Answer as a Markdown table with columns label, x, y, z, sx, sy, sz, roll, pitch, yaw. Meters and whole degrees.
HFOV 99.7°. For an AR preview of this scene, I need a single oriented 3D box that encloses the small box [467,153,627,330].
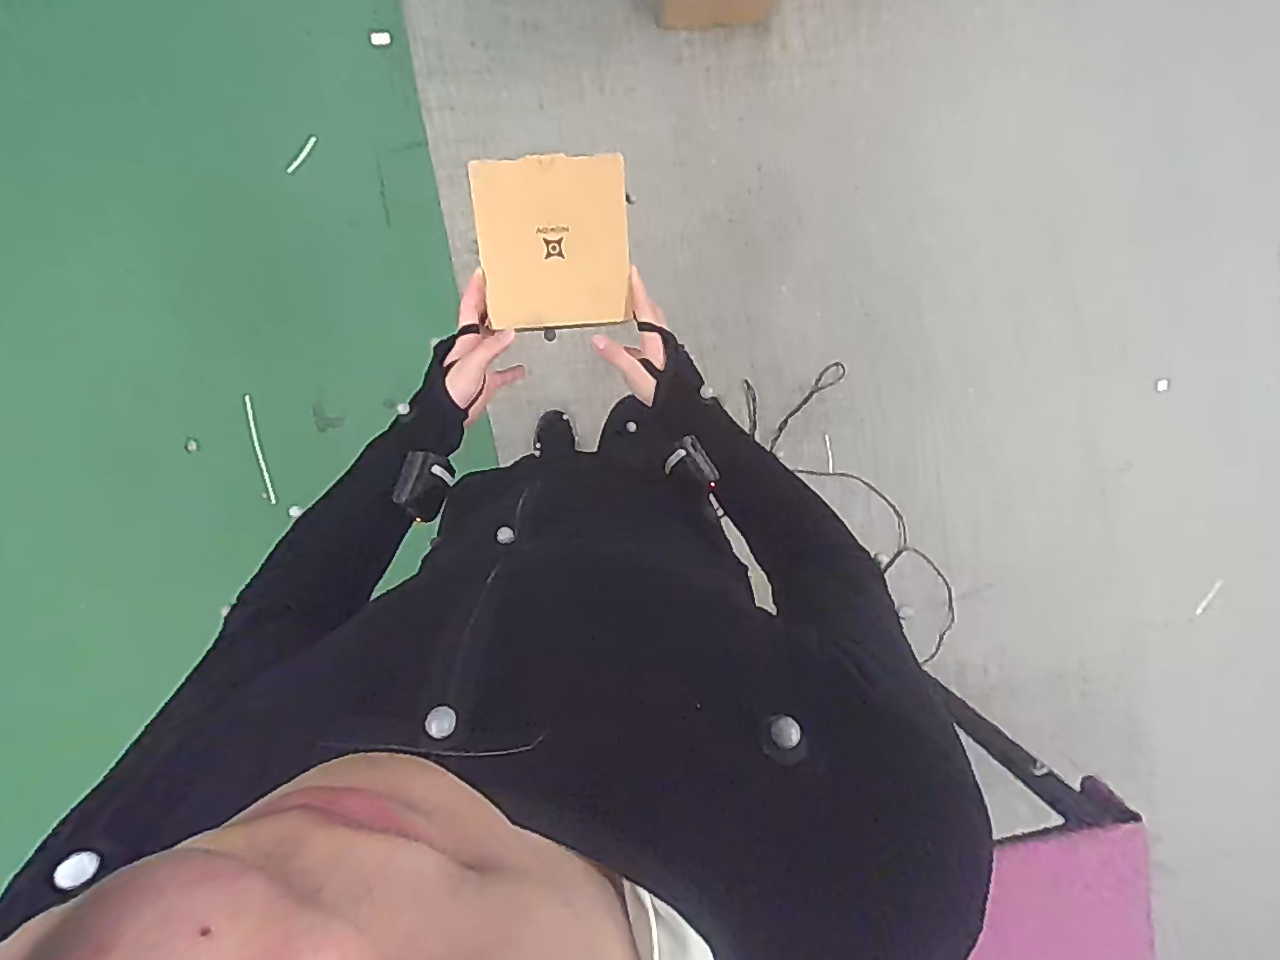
| label | x | y | z | sx | sy | sz | roll | pitch | yaw |
| --- | --- | --- | --- | --- | --- | --- | --- | --- | --- |
| small box | -0.101 | -0.280 | 0.672 | 0.168 | 0.176 | 0.179 | -4 | 103 | -2 |
